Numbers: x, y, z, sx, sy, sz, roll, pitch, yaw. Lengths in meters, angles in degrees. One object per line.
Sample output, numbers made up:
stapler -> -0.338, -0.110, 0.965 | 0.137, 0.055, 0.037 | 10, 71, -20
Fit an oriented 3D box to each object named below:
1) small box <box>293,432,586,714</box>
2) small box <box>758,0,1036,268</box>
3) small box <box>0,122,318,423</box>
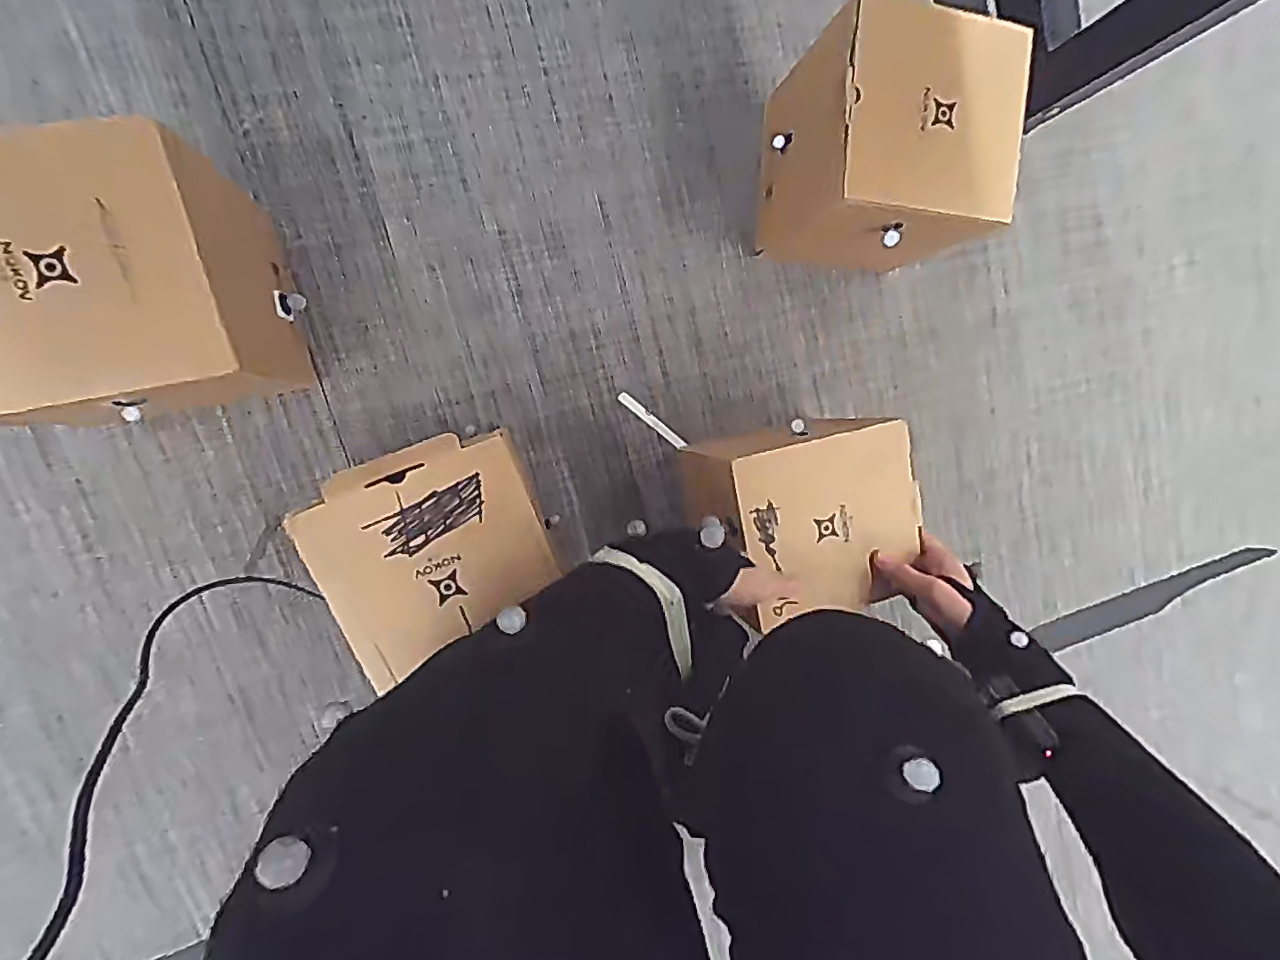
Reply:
small box -> -0.164, 0.064, 0.491 | 0.168, 0.176, 0.179 | -23, 103, -9
small box -> 0.237, -0.320, 0.536 | 0.179, 0.176, 0.168 | 1, 97, -12
small box -> -0.387, -0.138, 0.415 | 0.179, 0.176, 0.168 | -14, 100, -12
